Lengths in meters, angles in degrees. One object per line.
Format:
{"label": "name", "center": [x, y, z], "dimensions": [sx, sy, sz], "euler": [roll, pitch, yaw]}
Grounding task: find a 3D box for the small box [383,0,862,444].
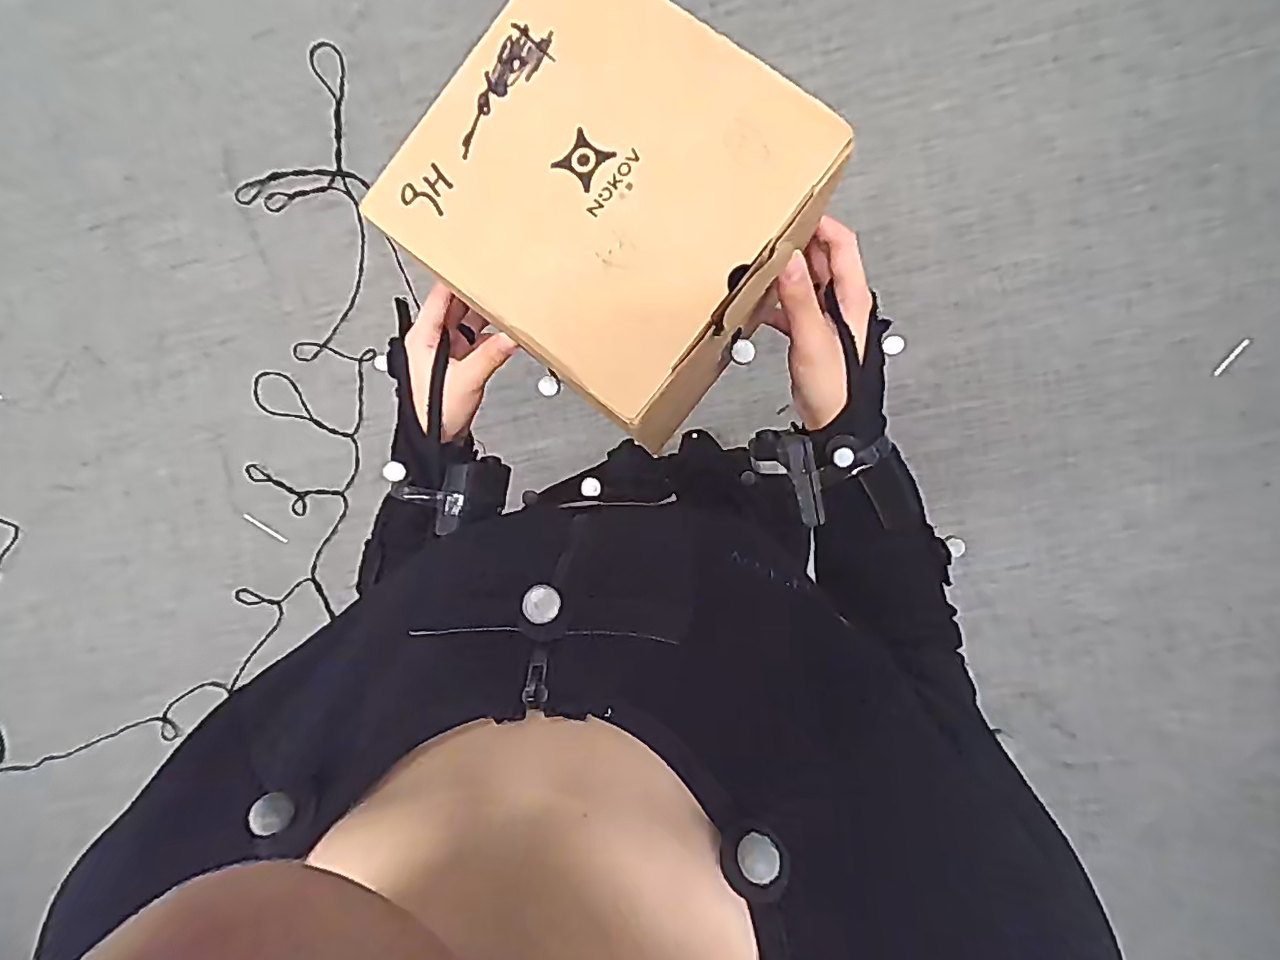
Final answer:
{"label": "small box", "center": [-0.005, -0.136, 0.338], "dimensions": [0.179, 0.176, 0.168], "euler": [40, 92, 5]}
